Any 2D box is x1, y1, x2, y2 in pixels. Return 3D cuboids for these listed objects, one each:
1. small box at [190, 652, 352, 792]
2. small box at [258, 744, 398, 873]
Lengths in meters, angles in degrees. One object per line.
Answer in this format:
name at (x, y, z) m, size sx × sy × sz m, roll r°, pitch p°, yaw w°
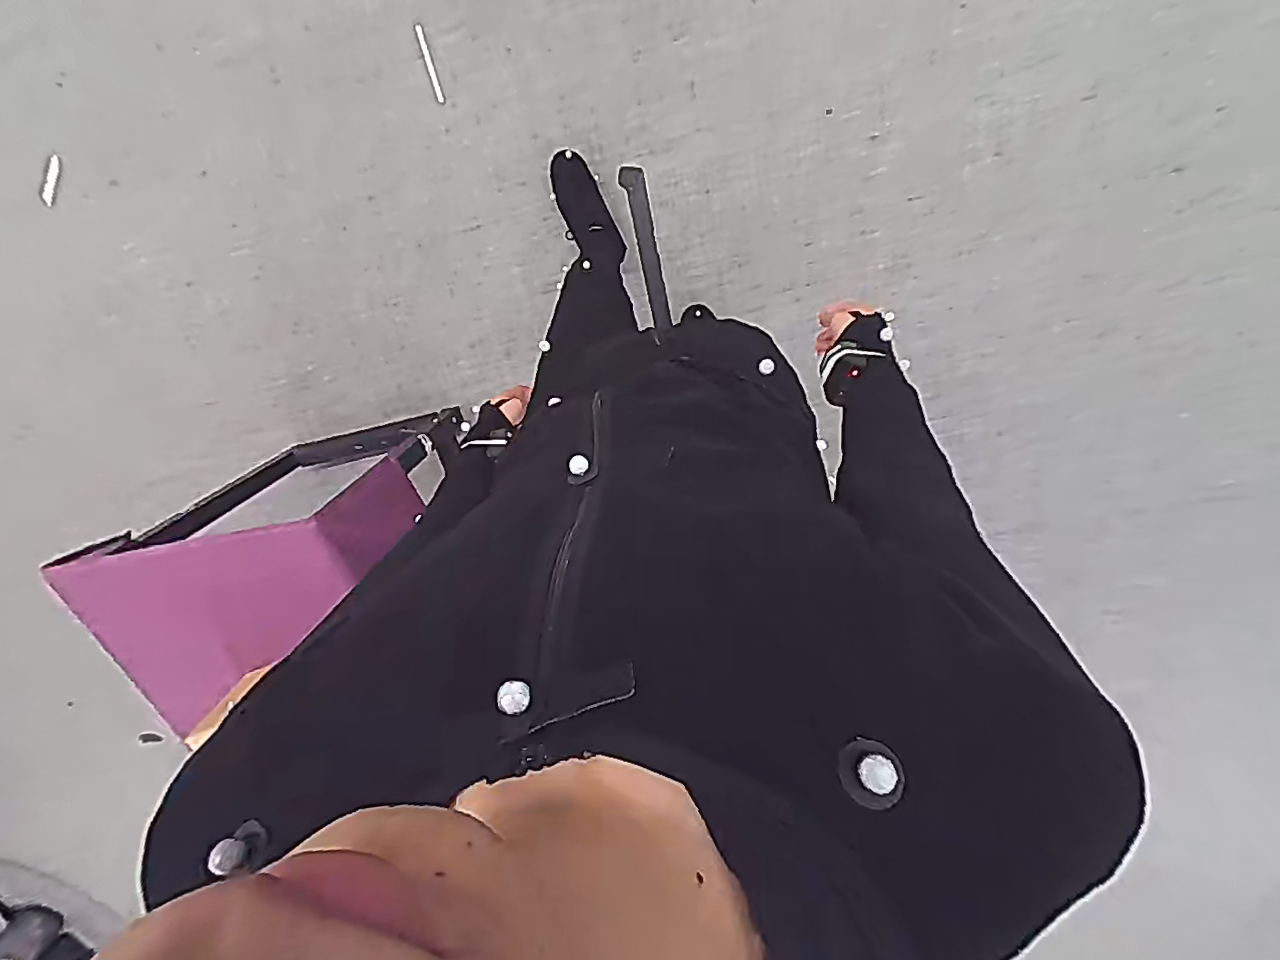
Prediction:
small box at (-0.709, 0.471, 1.069) m, size 0.179 × 0.176 × 0.168 m, roll -22°, pitch 111°, yaw 14°
small box at (-0.659, 0.706, 1.175) m, size 0.179 × 0.176 × 0.168 m, roll -20°, pitch 112°, yaw 13°
